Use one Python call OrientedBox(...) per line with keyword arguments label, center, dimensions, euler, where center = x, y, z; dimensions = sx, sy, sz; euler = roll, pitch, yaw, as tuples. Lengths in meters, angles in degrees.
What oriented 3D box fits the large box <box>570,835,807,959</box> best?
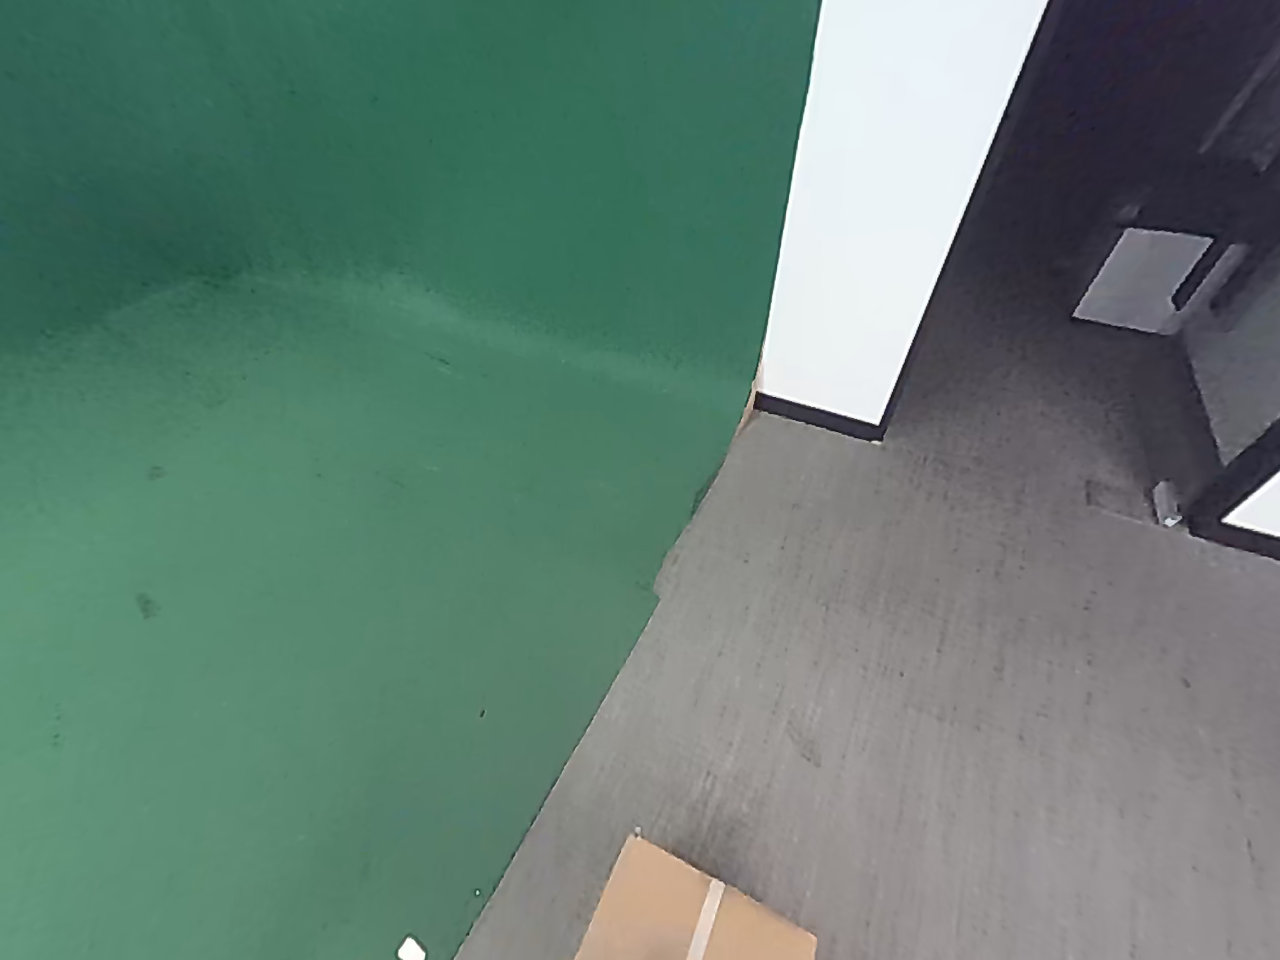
OrientedBox(label="large box", center=(0.030, 0.864, 0.823), dimensions=(0.320, 0.320, 0.408), euler=(19, 48, 19))
